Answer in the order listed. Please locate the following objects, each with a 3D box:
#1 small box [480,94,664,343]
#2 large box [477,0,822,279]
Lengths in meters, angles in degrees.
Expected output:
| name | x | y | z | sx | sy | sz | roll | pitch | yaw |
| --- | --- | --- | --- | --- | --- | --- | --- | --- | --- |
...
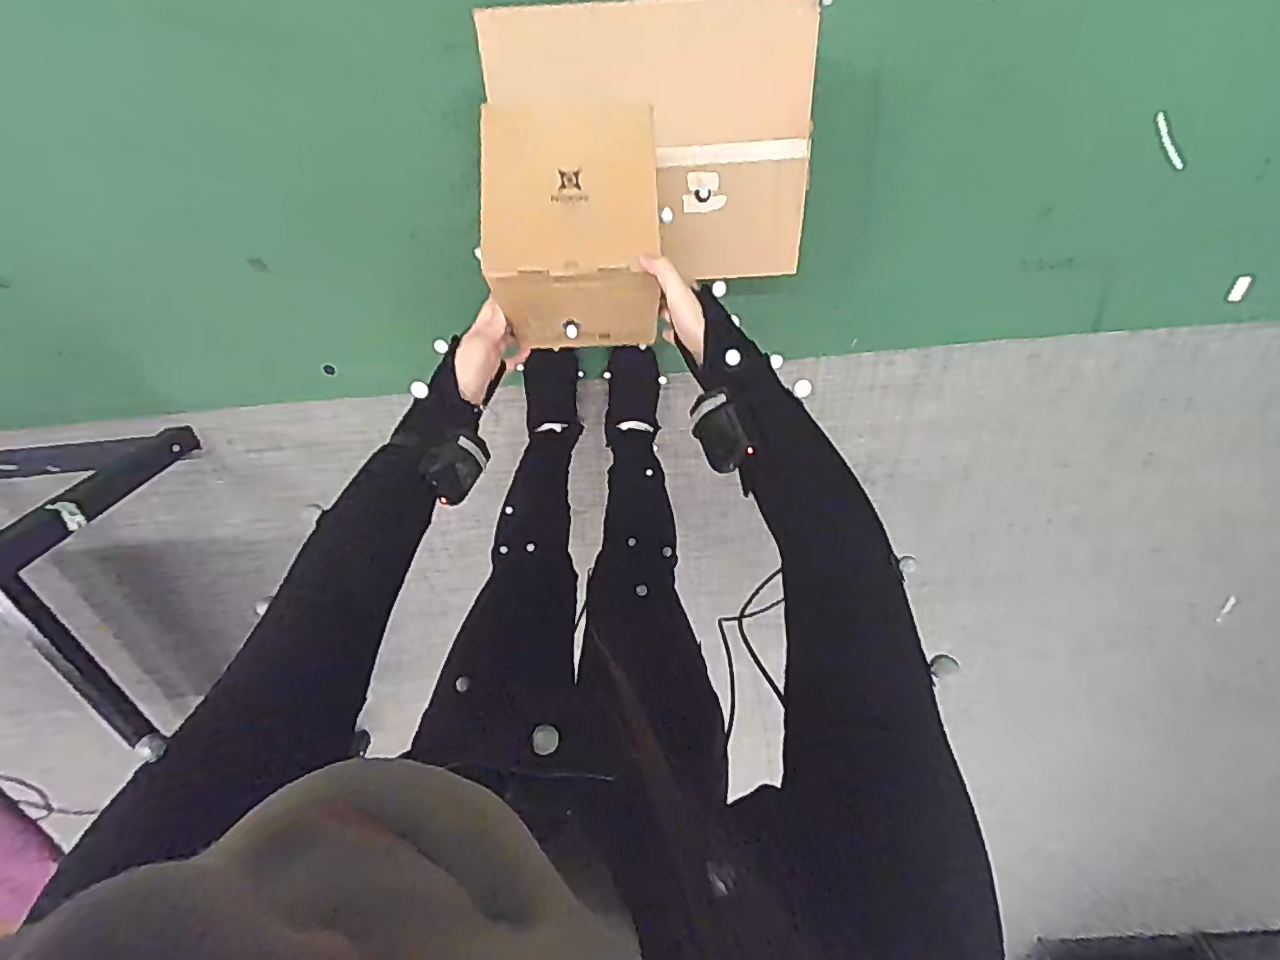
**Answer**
| name | x | y | z | sx | sy | sz | roll | pitch | yaw |
| --- | --- | --- | --- | --- | --- | --- | --- | --- | --- |
| small box | -0.065 | -0.262 | 0.572 | 0.168 | 0.176 | 0.179 | -3 | 82 | -1 |
| large box | 0.013 | -0.490 | 0.817 | 0.408 | 0.320 | 0.320 | -4 | 121 | 0 |
